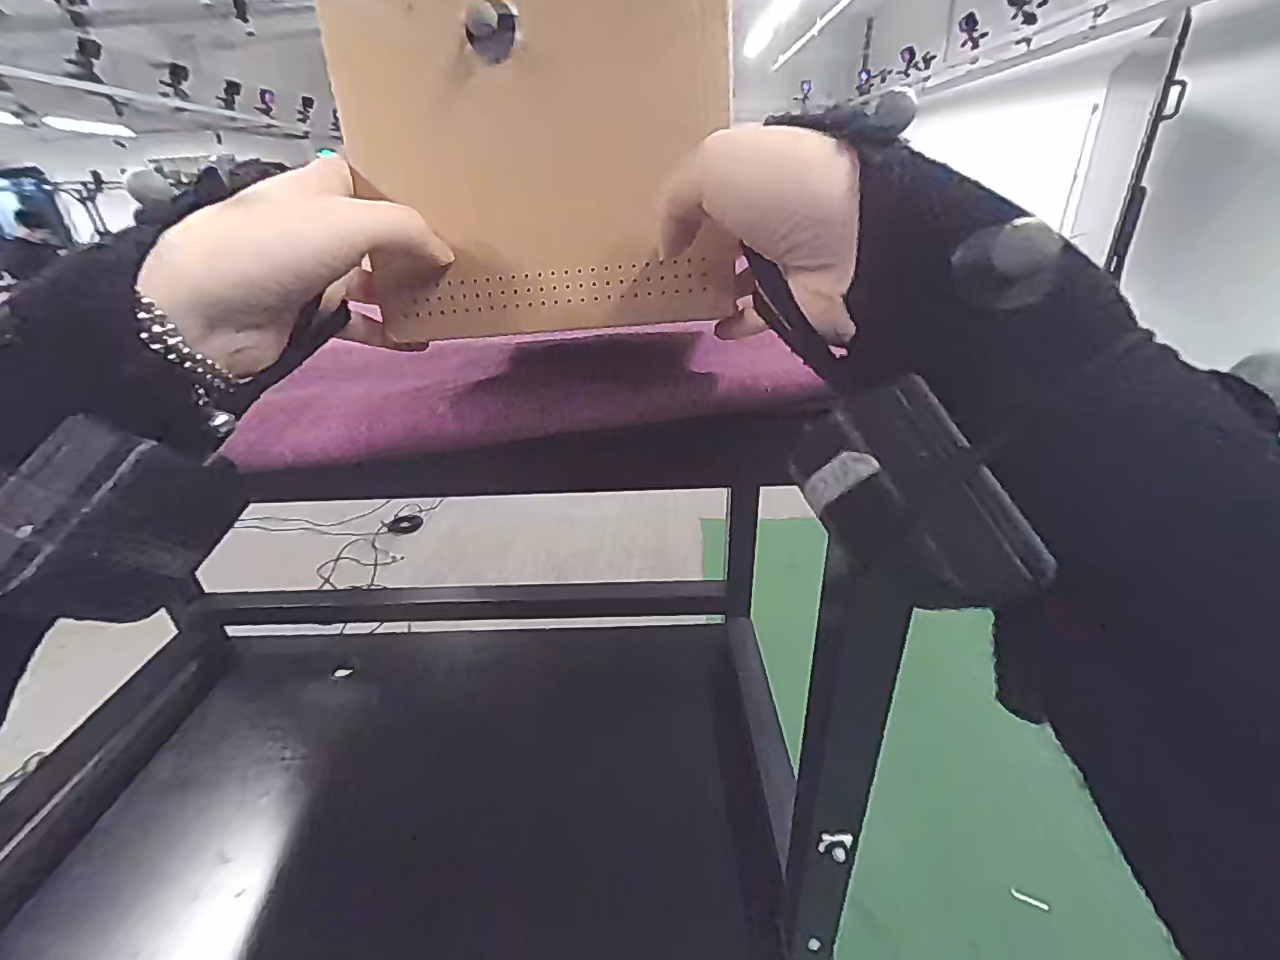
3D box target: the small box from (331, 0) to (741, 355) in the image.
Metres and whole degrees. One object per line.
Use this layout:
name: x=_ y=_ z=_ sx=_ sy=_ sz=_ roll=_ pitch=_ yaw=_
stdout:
small box: x=-0.036 y=-0.166 z=0.312 sx=0.179 sy=0.176 sz=0.168 roll=-2 pitch=19 yaw=6
